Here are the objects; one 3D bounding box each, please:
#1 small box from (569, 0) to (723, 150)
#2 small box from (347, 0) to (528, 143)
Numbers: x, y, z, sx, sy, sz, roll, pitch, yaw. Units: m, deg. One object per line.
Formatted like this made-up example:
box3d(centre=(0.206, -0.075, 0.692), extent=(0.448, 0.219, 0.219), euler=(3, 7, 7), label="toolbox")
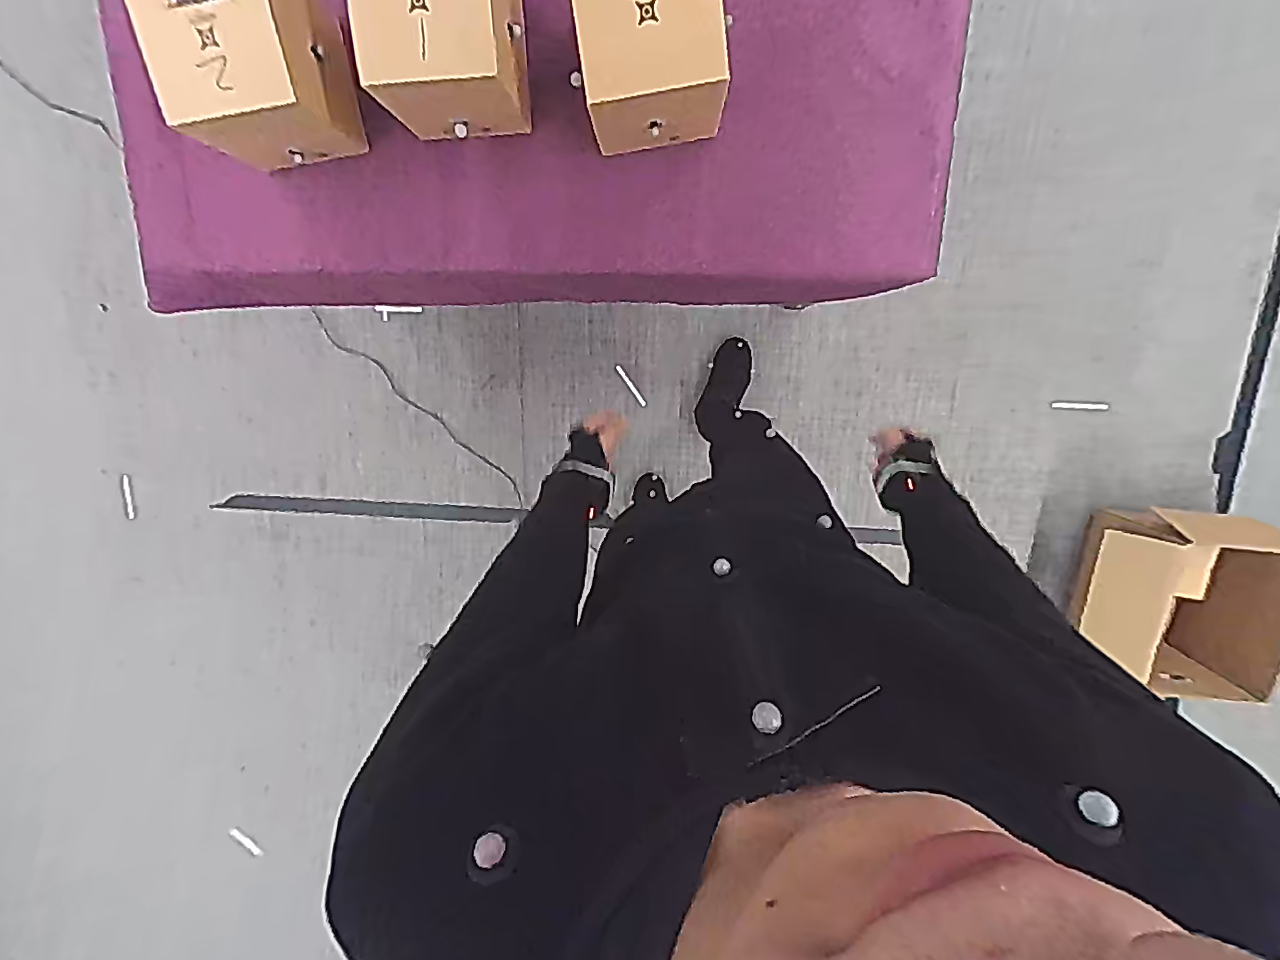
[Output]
box3d(centre=(0.008, -0.539, 0.676), extent=(0.168, 0.176, 0.179), euler=(-8, 102, 3), label="small box")
box3d(centre=(-0.245, -0.558, 0.683), extent=(0.168, 0.176, 0.179), euler=(-2, 103, 3), label="small box")
